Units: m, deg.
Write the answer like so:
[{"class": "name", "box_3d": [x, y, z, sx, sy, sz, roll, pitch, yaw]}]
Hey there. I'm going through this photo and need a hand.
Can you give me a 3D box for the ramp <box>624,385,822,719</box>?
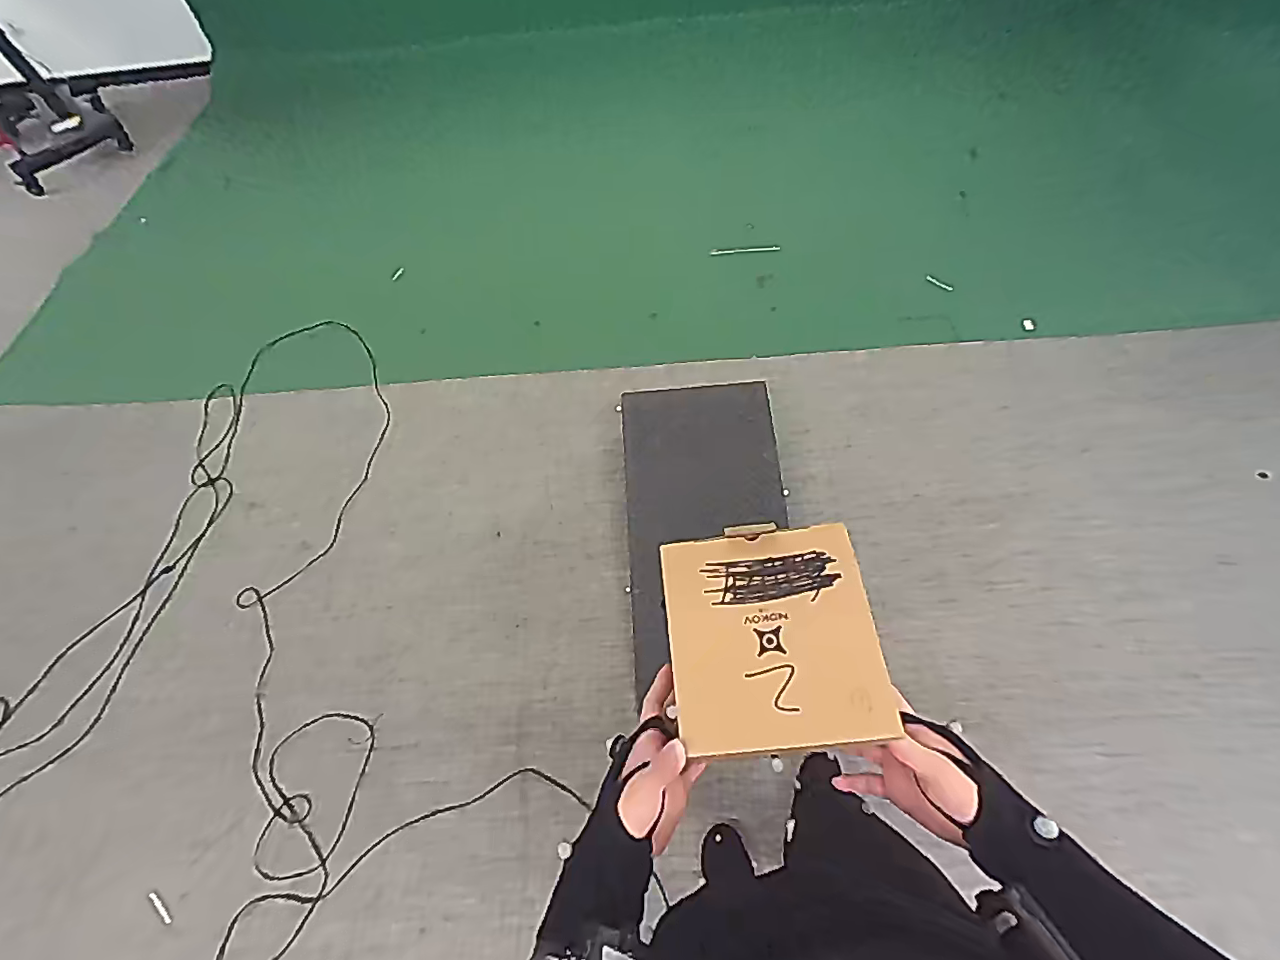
[{"class": "ramp", "box_3d": [0.219, 0.166, 1.631, 0.509, 0.206, 0.991, -5, 58, 1]}]
